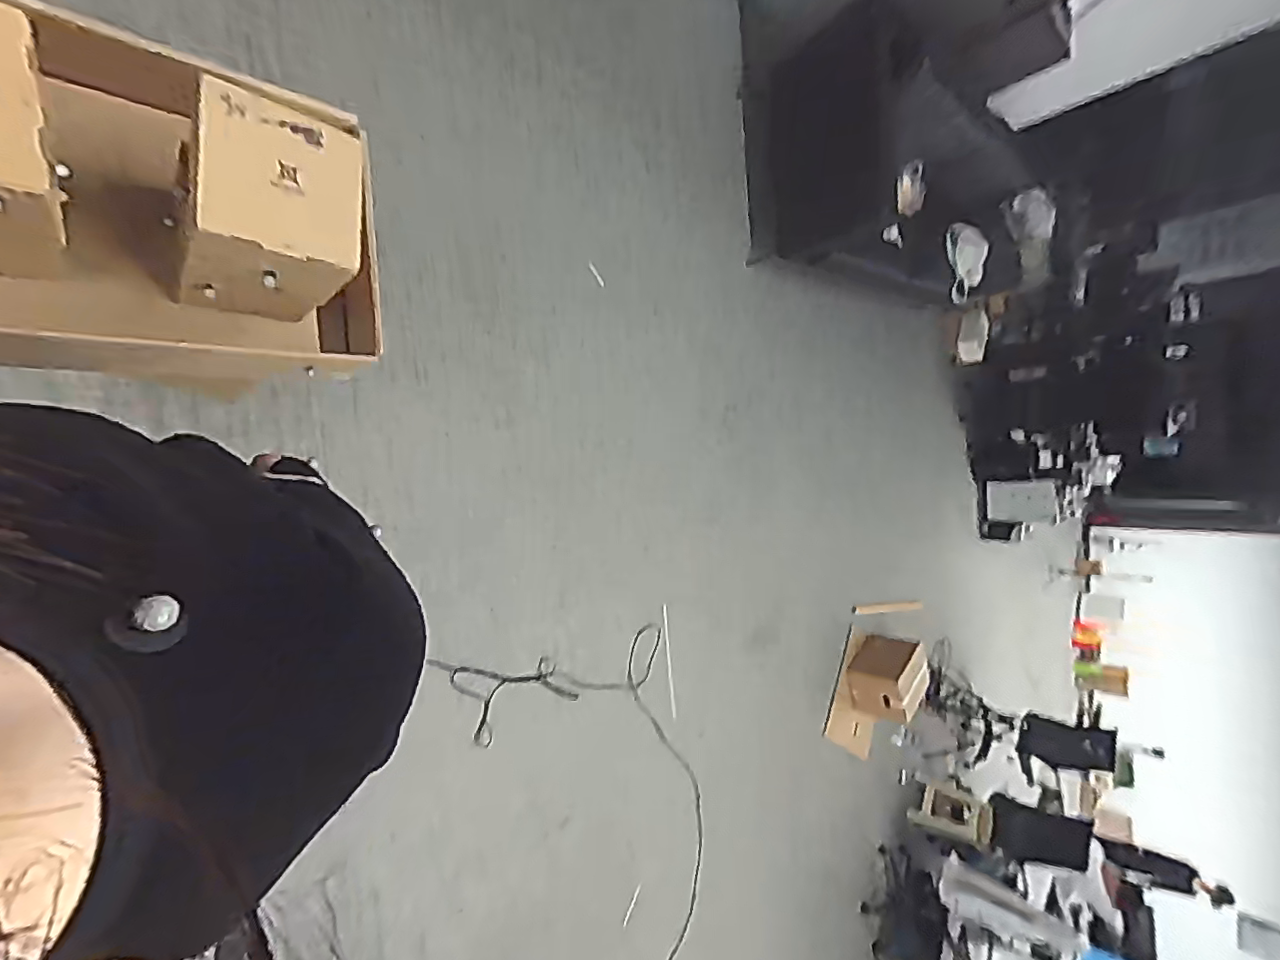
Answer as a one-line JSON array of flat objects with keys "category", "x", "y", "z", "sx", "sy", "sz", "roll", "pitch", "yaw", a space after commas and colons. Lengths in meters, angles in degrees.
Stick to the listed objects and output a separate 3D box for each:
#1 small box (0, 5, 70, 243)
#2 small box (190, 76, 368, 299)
[{"category": "small box", "x": -0.678, "y": -0.345, "z": 0.510, "sx": 0.179, "sy": 0.176, "sz": 0.168, "roll": -7, "pitch": 94, "yaw": -44}, {"category": "small box", "x": -0.470, "y": -0.354, "z": 0.701, "sx": 0.168, "sy": 0.176, "sz": 0.179, "roll": 4, "pitch": 88, "yaw": -43}]
